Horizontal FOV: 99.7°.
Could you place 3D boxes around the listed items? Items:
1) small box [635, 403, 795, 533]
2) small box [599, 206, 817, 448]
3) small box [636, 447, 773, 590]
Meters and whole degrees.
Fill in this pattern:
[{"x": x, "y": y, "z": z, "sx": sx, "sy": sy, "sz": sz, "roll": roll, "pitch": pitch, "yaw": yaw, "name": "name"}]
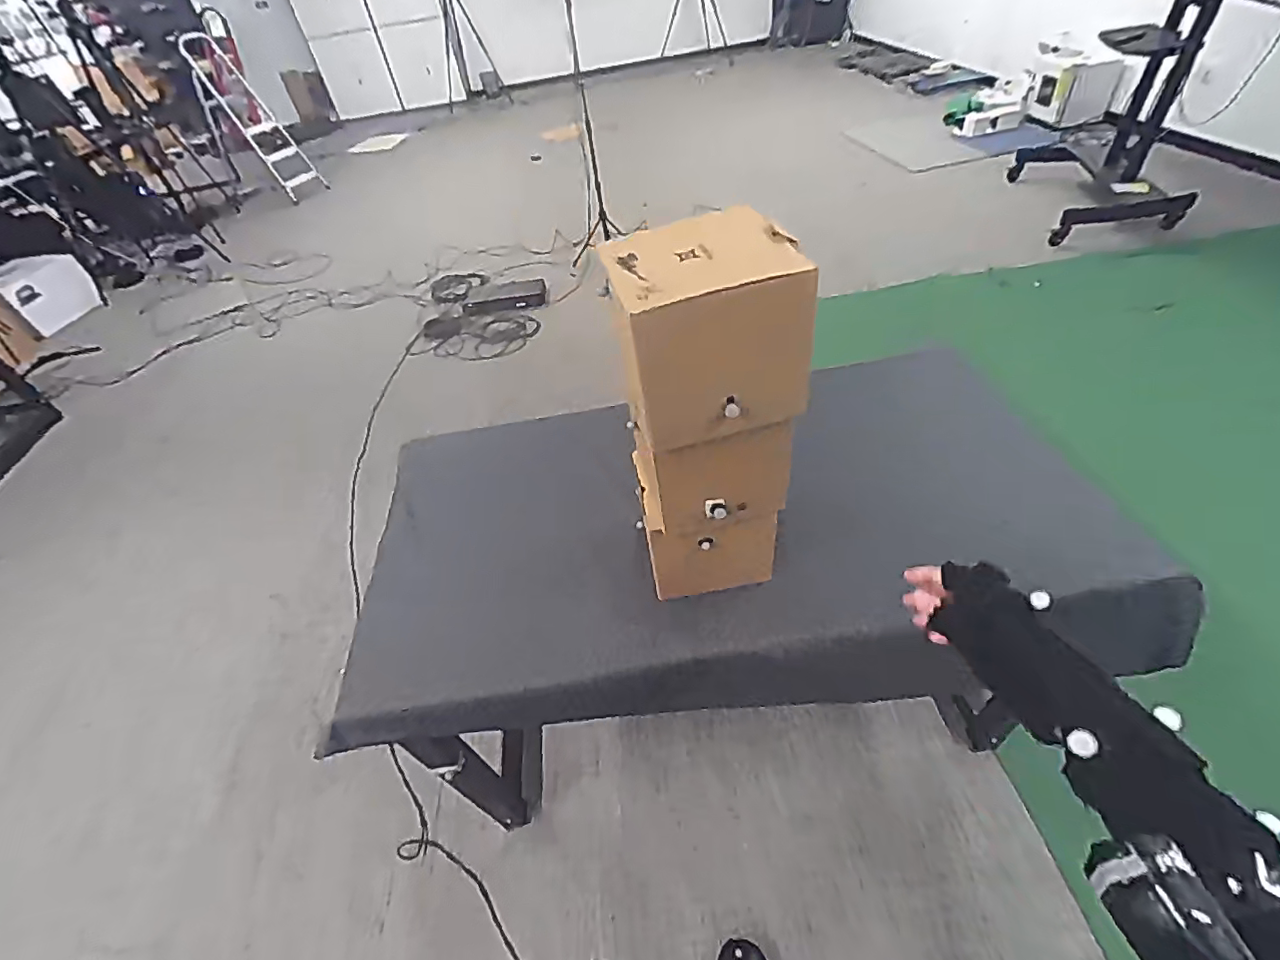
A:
[{"x": 0.087, "y": -0.061, "z": 0.705, "sx": 0.168, "sy": 0.176, "sz": 0.179, "roll": -15, "pitch": 47, "yaw": -2, "name": "small box"}, {"x": 0.066, "y": -0.161, "z": 0.576, "sx": 0.179, "sy": 0.176, "sz": 0.168, "roll": -15, "pitch": 45, "yaw": -2, "name": "small box"}, {"x": 0.099, "y": 0.049, "z": 0.824, "sx": 0.179, "sy": 0.176, "sz": 0.168, "roll": -10, "pitch": 45, "yaw": 0, "name": "small box"}]
